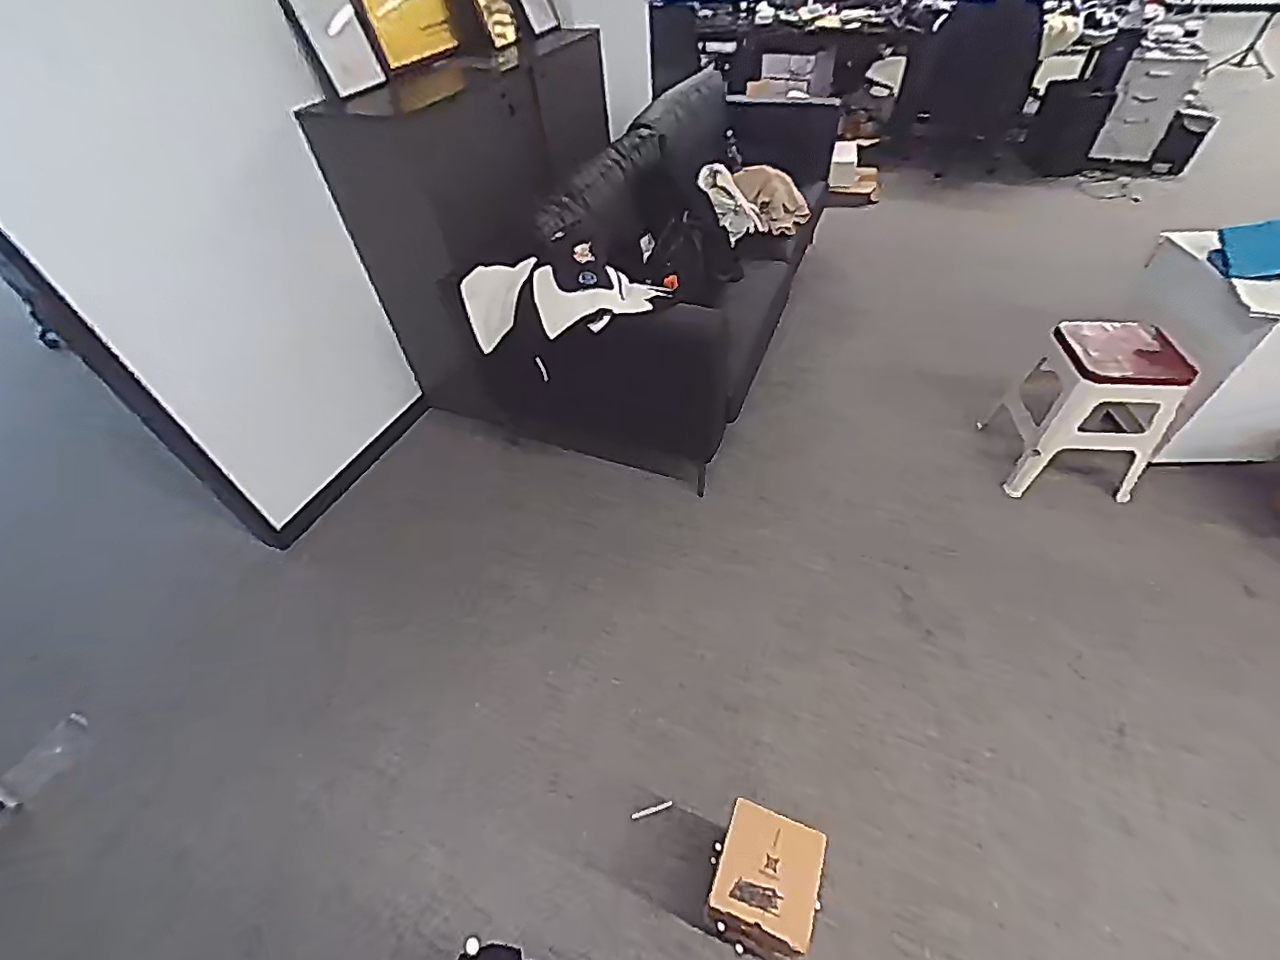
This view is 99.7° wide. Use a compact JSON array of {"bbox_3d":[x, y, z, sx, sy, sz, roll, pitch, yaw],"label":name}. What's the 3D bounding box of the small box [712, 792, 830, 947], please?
[{"bbox_3d":[0.235,0.714,0.988,0.168,0.176,0.179,15,50,18],"label":"small box"}]
